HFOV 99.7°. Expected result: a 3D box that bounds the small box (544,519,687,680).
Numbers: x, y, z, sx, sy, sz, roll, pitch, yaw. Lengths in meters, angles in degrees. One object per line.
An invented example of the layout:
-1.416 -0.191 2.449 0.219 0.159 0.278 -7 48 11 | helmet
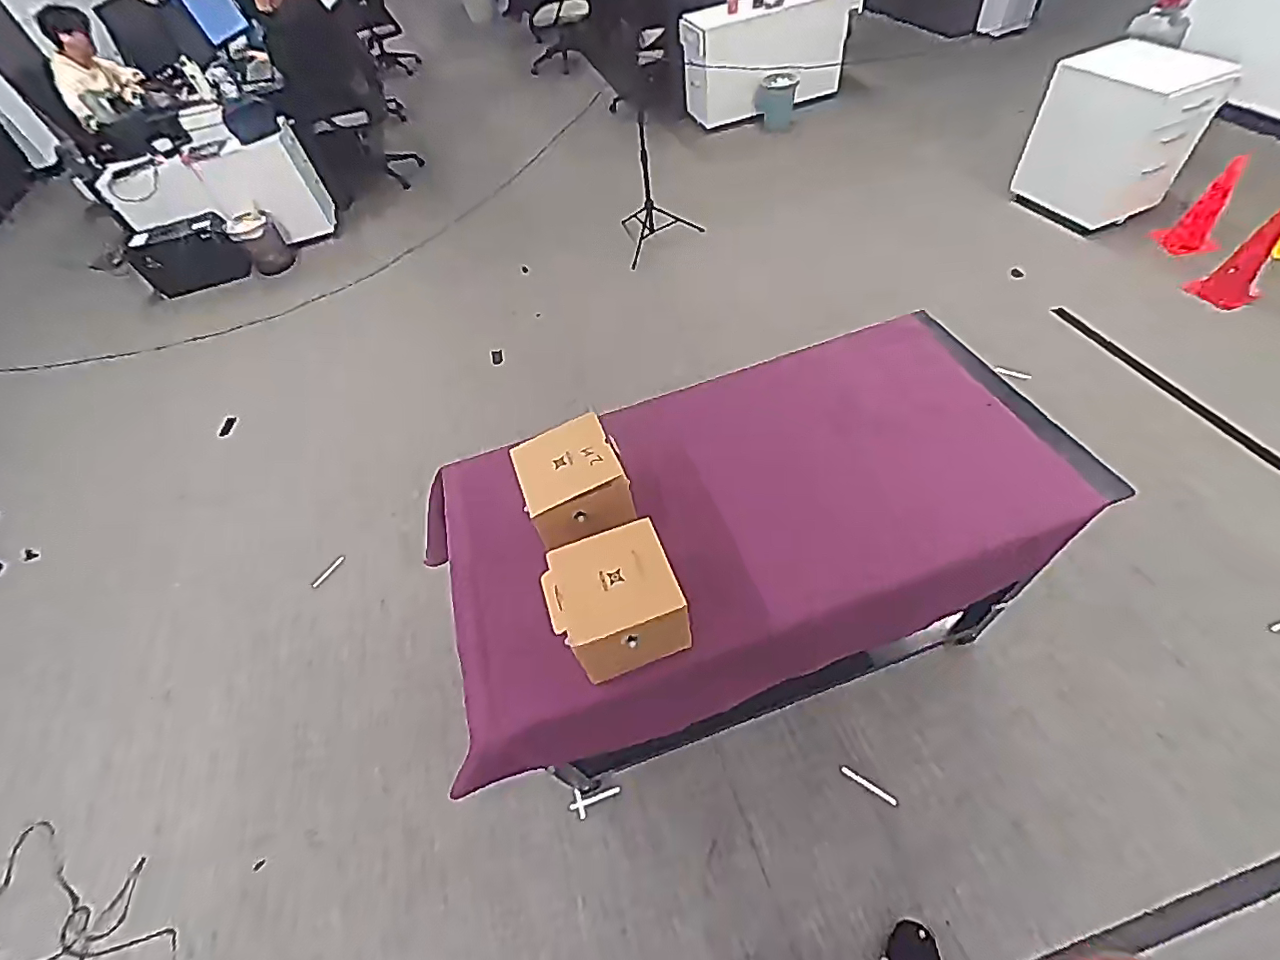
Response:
-0.034 0.196 0.866 0.179 0.176 0.168 -19 53 -6 | small box

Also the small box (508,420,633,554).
-0.124 0.024 1.009 0.179 0.176 0.168 -21 54 -8 | small box
